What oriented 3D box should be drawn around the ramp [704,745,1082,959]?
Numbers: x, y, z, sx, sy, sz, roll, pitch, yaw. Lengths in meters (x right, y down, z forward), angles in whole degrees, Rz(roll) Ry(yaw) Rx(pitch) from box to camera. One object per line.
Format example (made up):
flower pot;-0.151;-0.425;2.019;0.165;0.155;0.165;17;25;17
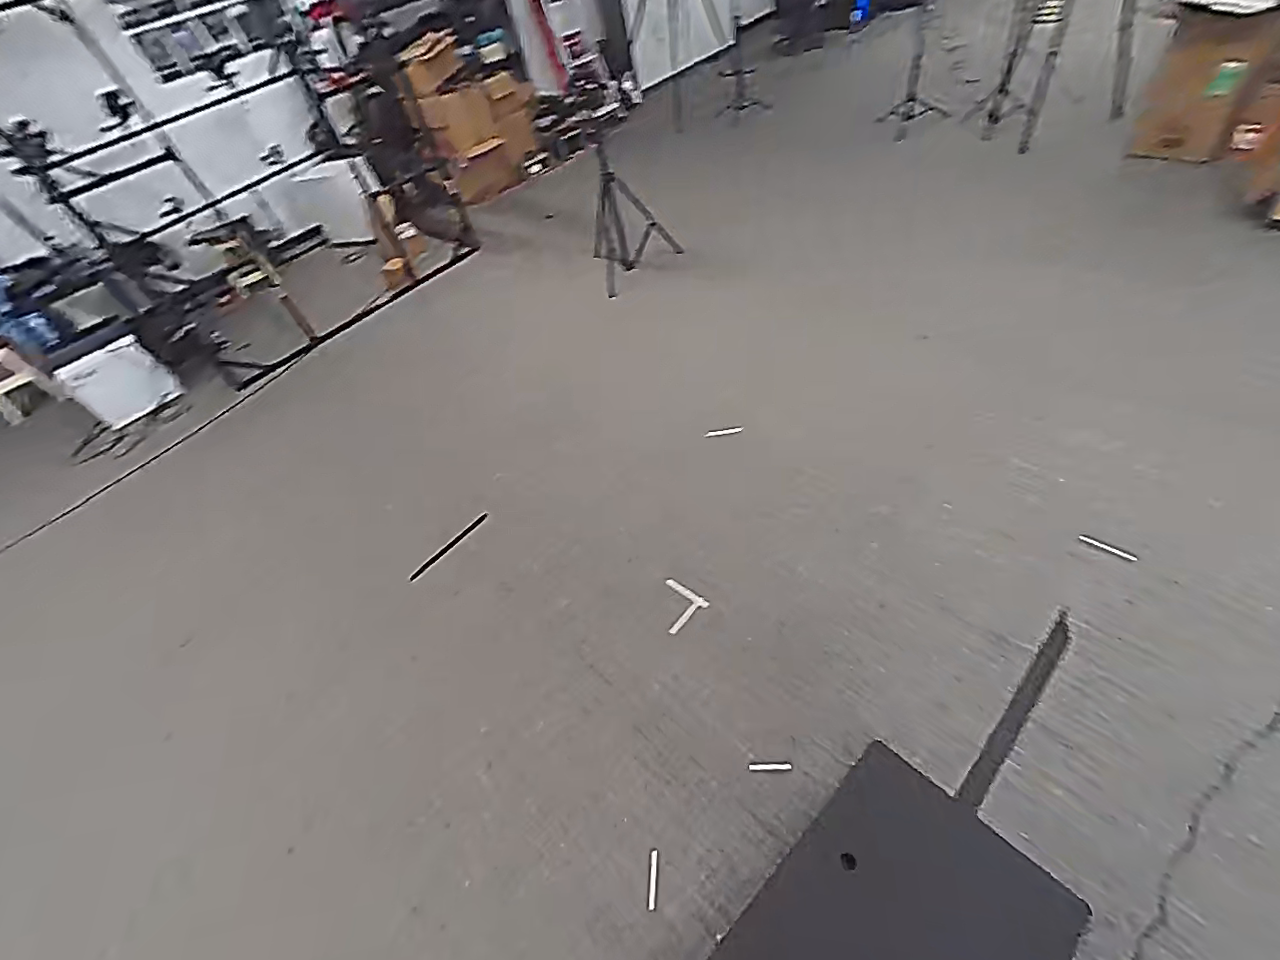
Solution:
ramp;0.400;1.028;1.041;0.991;0.206;0.509;-41;49;-22
